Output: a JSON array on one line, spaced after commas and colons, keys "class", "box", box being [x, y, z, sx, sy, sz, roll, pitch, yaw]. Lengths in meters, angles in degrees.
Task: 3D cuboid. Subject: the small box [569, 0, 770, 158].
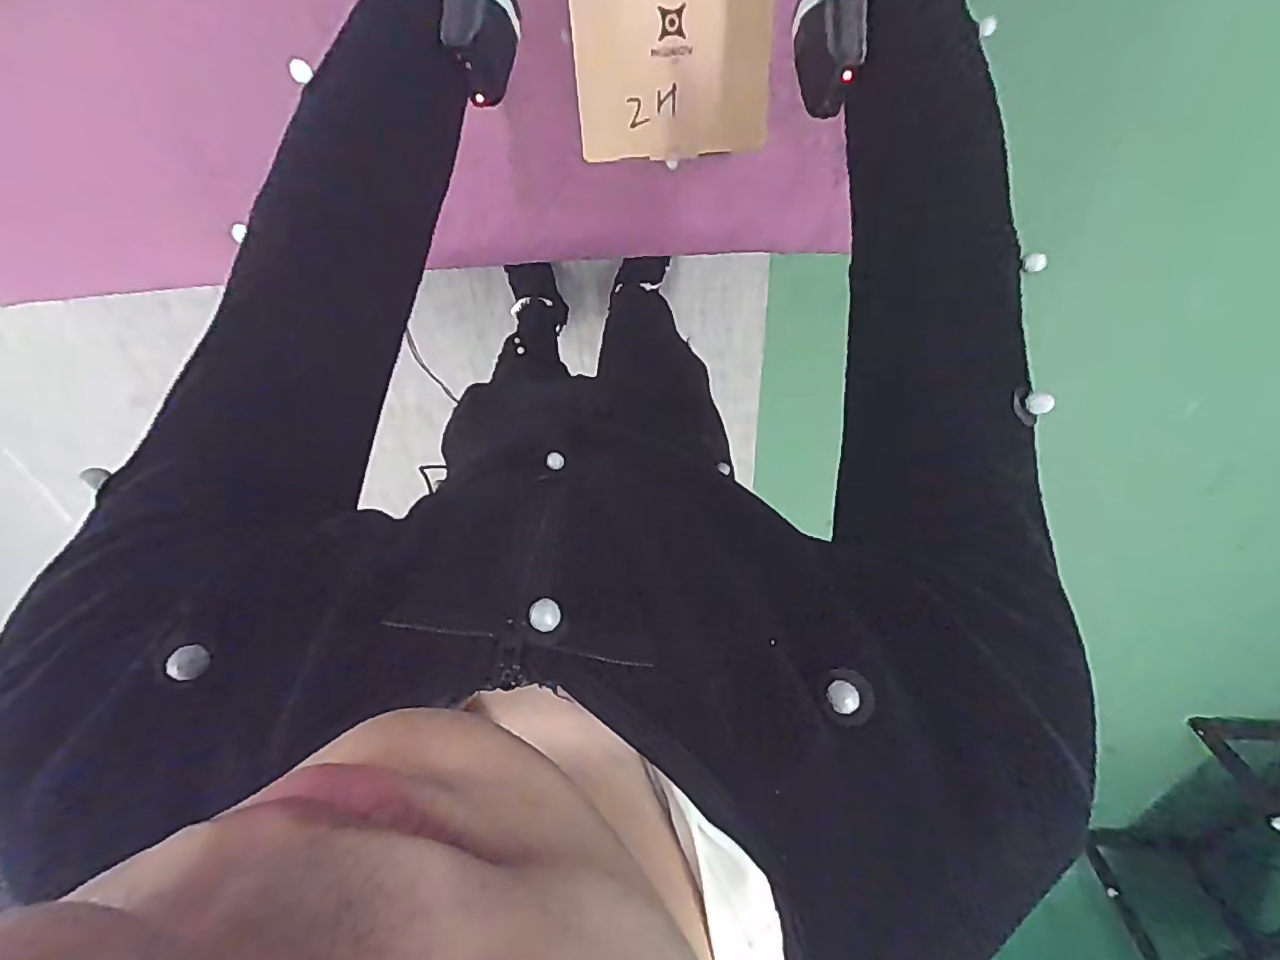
[{"class": "small box", "box": [0.027, -0.412, 0.512, 0.168, 0.176, 0.179, 0, 124, 4]}]
